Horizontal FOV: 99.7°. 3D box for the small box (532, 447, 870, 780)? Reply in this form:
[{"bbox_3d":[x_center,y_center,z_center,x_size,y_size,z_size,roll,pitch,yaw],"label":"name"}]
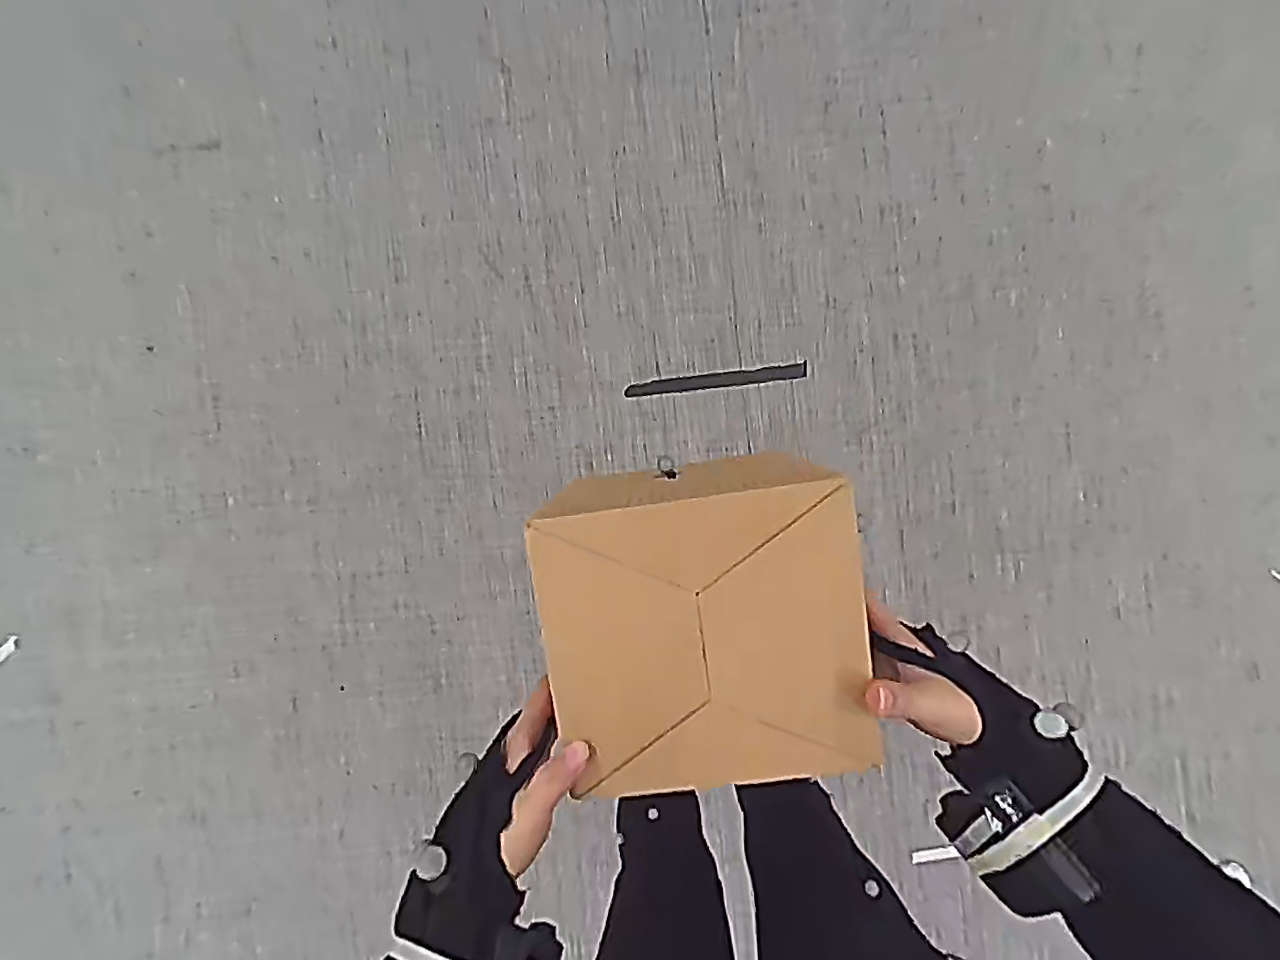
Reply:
[{"bbox_3d":[0.040,0.076,0.374,0.179,0.176,0.168,-8,97,3],"label":"small box"}]
